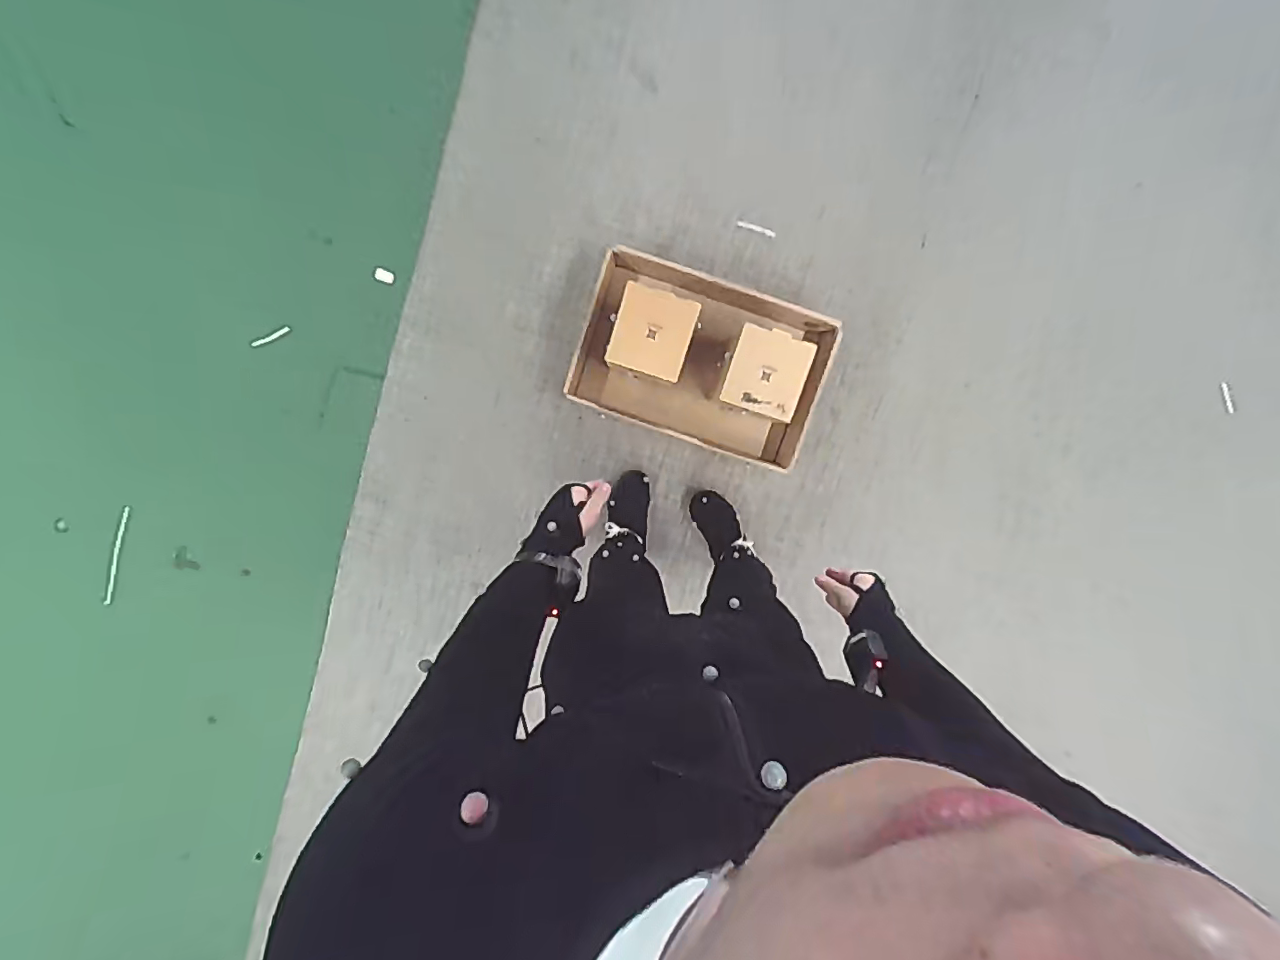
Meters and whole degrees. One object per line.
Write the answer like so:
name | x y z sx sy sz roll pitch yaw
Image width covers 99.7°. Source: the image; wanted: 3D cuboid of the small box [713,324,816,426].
small box | 0.273 -0.232 1.232 0.168 0.176 0.179 19 96 0

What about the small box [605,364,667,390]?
small box | 0.019 -0.339 1.386 0.168 0.176 0.179 18 96 -3

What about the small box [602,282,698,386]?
small box | 0.022 -0.319 1.225 0.168 0.176 0.179 18 96 -2
